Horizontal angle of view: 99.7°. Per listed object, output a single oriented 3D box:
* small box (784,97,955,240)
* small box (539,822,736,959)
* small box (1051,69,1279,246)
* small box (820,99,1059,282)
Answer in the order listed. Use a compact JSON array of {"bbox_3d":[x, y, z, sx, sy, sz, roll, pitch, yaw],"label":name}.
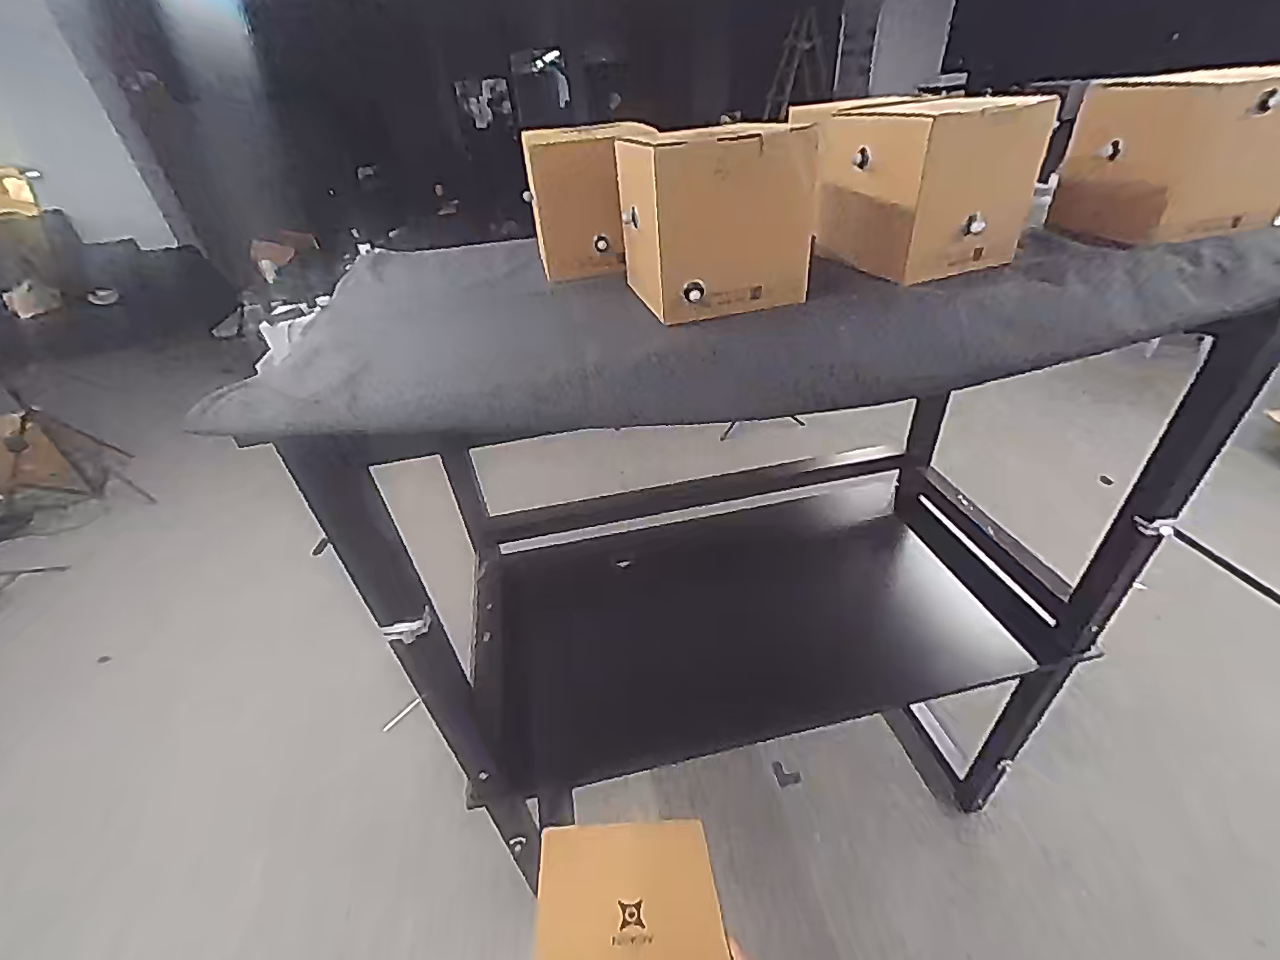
[{"bbox_3d":[0.339,-0.484,0.837,0.179,0.176,0.168,-9,36,-6],"label":"small box"},{"bbox_3d":[-0.011,0.461,0.506,0.168,0.176,0.179,2,25,-8],"label":"small box"},{"bbox_3d":[0.674,-0.403,0.679,0.168,0.176,0.179,-9,35,-3],"label":"small box"},{"bbox_3d":[0.342,-0.354,0.659,0.168,0.176,0.179,-16,38,-13],"label":"small box"}]
